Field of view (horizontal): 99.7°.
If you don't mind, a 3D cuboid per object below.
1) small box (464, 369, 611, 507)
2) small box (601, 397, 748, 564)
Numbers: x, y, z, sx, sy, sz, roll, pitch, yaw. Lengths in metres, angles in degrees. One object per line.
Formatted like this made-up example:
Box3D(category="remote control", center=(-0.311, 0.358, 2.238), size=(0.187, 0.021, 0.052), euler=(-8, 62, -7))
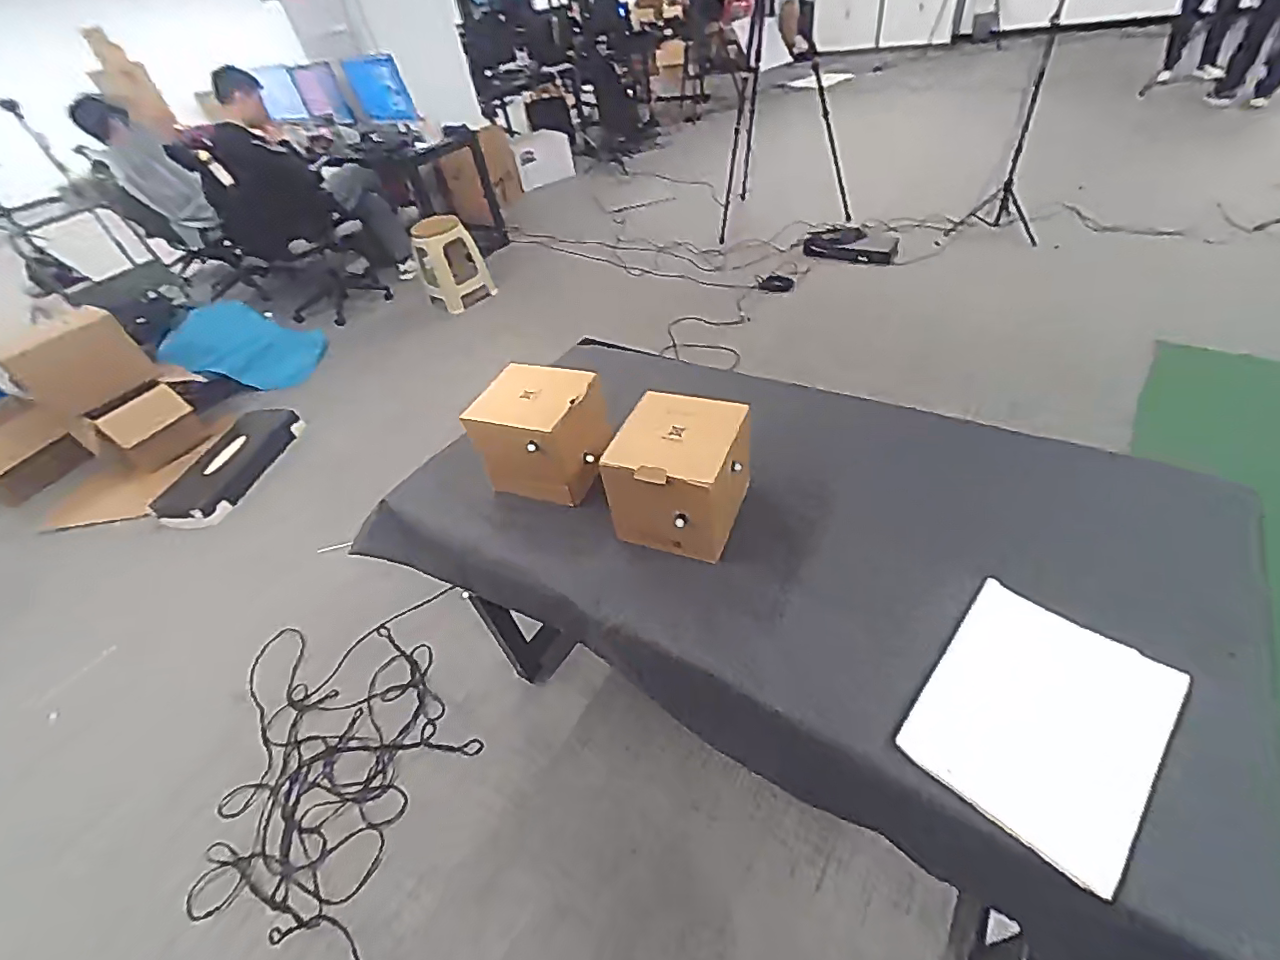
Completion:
Box3D(category="small box", center=(-0.168, -0.073, 0.945), size=(0.179, 0.176, 0.168), euler=(10, 46, 20))
Box3D(category="small box", center=(0.063, 0.000, 0.819), size=(0.168, 0.176, 0.179), euler=(12, 46, 22))
